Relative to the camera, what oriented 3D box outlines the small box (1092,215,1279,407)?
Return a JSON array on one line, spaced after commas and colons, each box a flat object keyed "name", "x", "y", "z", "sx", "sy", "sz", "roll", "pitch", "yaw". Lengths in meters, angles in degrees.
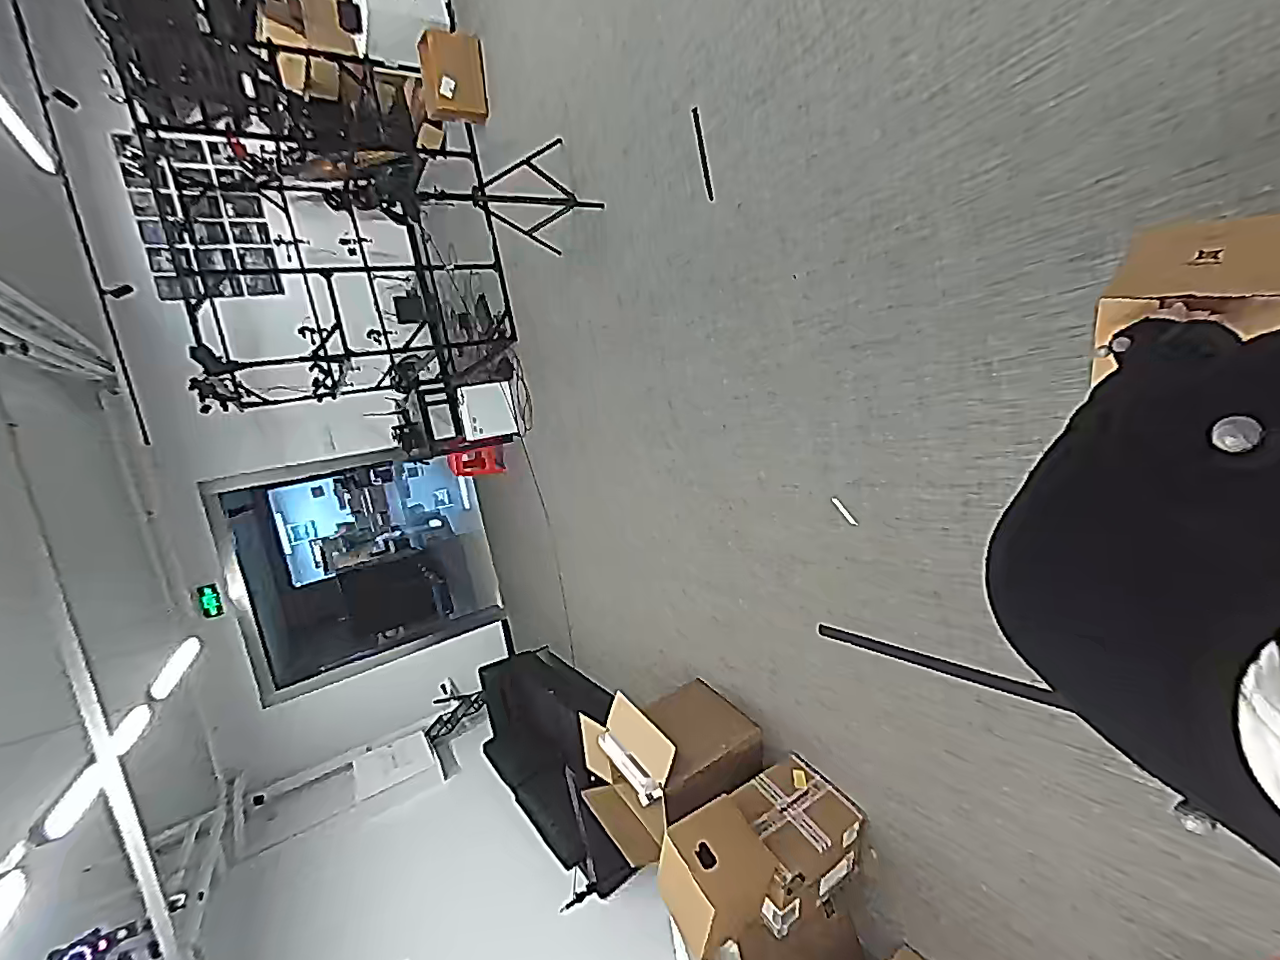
[{"name": "small box", "x": 0.724, "y": -0.217, "z": 0.710, "sx": 0.168, "sy": 0.179, "sz": 0.176, "roll": 20, "pitch": 150, "yaw": 46}]
